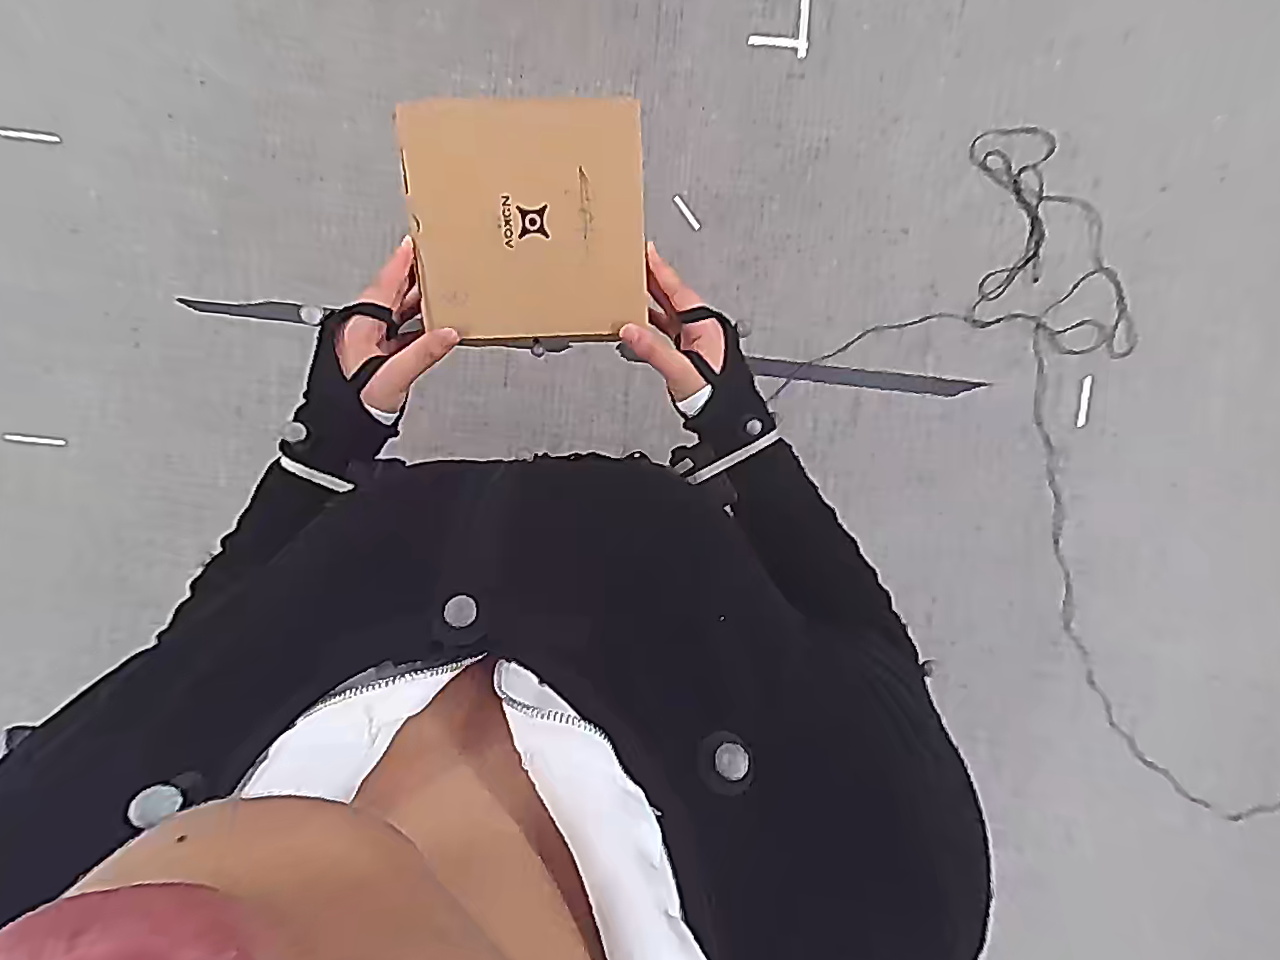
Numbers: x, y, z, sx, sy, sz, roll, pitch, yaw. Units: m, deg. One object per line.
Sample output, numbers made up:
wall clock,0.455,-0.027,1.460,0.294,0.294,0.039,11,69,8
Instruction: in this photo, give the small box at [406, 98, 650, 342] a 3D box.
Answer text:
small box,-0.085,-0.214,0.489,0.179,0.176,0.168,-3,103,-3
